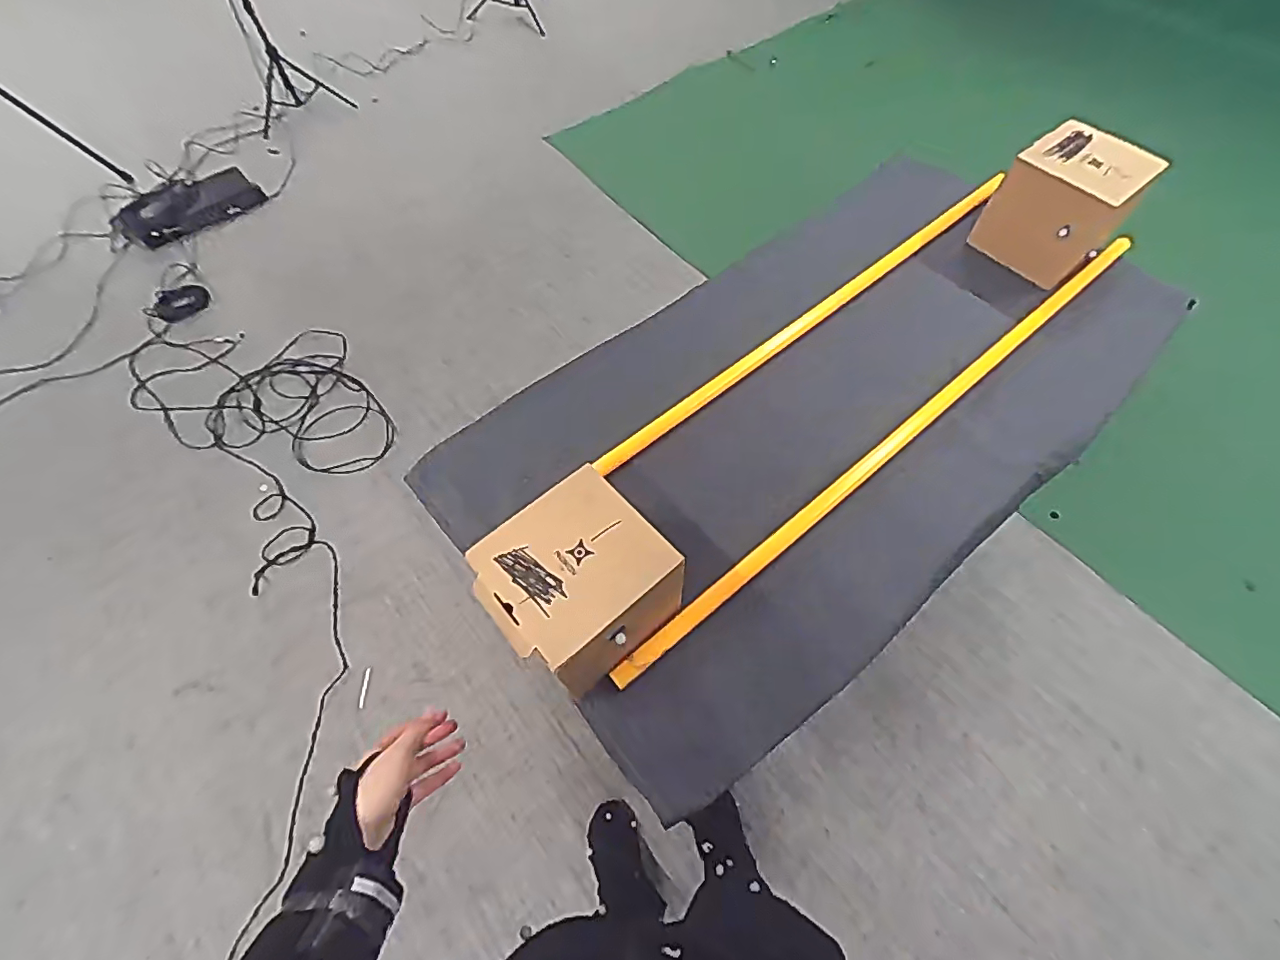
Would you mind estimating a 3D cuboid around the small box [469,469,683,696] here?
[{"bbox_3d":[-0.065,0.127,0.641,0.179,0.176,0.168,-38,65,-19],"label":"small box"}]
